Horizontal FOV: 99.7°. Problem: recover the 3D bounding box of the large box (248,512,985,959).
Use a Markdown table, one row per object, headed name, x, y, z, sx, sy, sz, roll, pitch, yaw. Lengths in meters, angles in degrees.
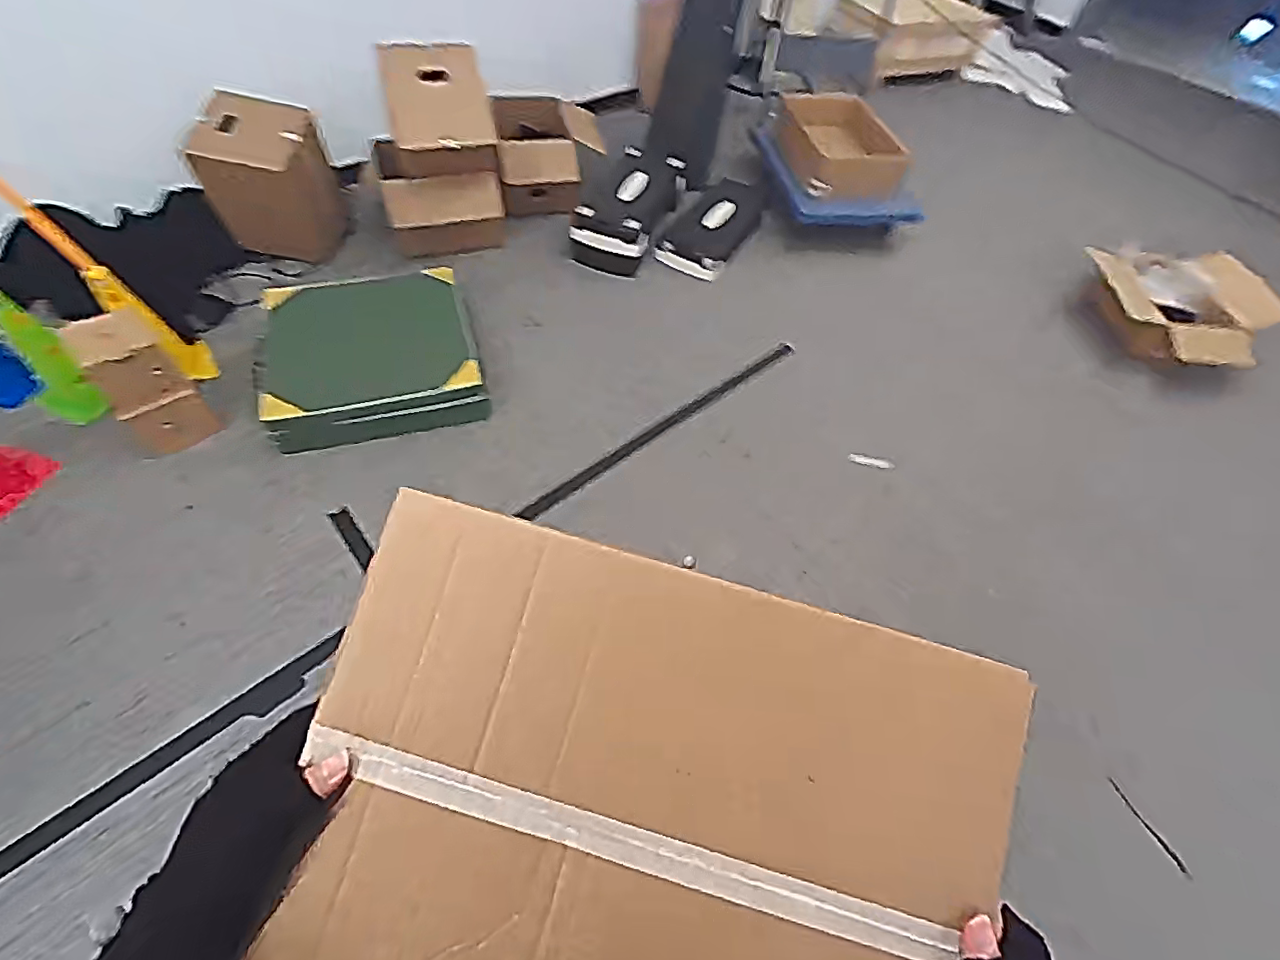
| name | x | y | z | sx | sy | sz | roll | pitch | yaw |
| --- | --- | --- | --- | --- | --- | --- | --- | --- | --- |
| large box | -0.007 | 0.235 | 0.476 | 0.408 | 0.320 | 0.320 | 15 | 81 | 3 |
